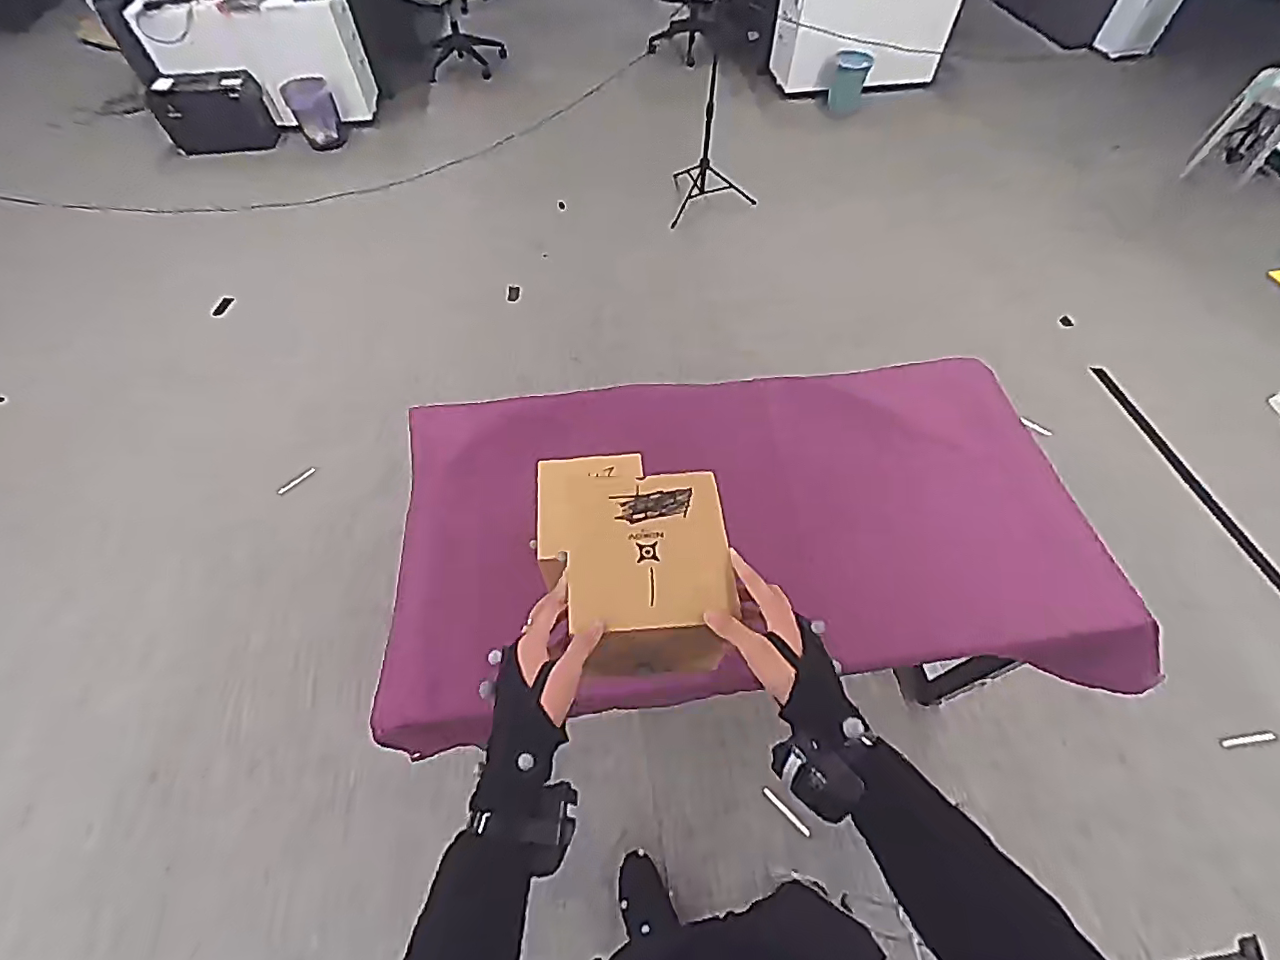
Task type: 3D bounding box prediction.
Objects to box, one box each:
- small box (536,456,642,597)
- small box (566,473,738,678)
[{"bbox_3d":[-0.074,0.083,0.883,0.168,0.176,0.179,-4,56,-3],"label":"small box"},{"bbox_3d":[0.002,0.111,0.615,0.168,0.176,0.179,-3,57,-5],"label":"small box"}]
